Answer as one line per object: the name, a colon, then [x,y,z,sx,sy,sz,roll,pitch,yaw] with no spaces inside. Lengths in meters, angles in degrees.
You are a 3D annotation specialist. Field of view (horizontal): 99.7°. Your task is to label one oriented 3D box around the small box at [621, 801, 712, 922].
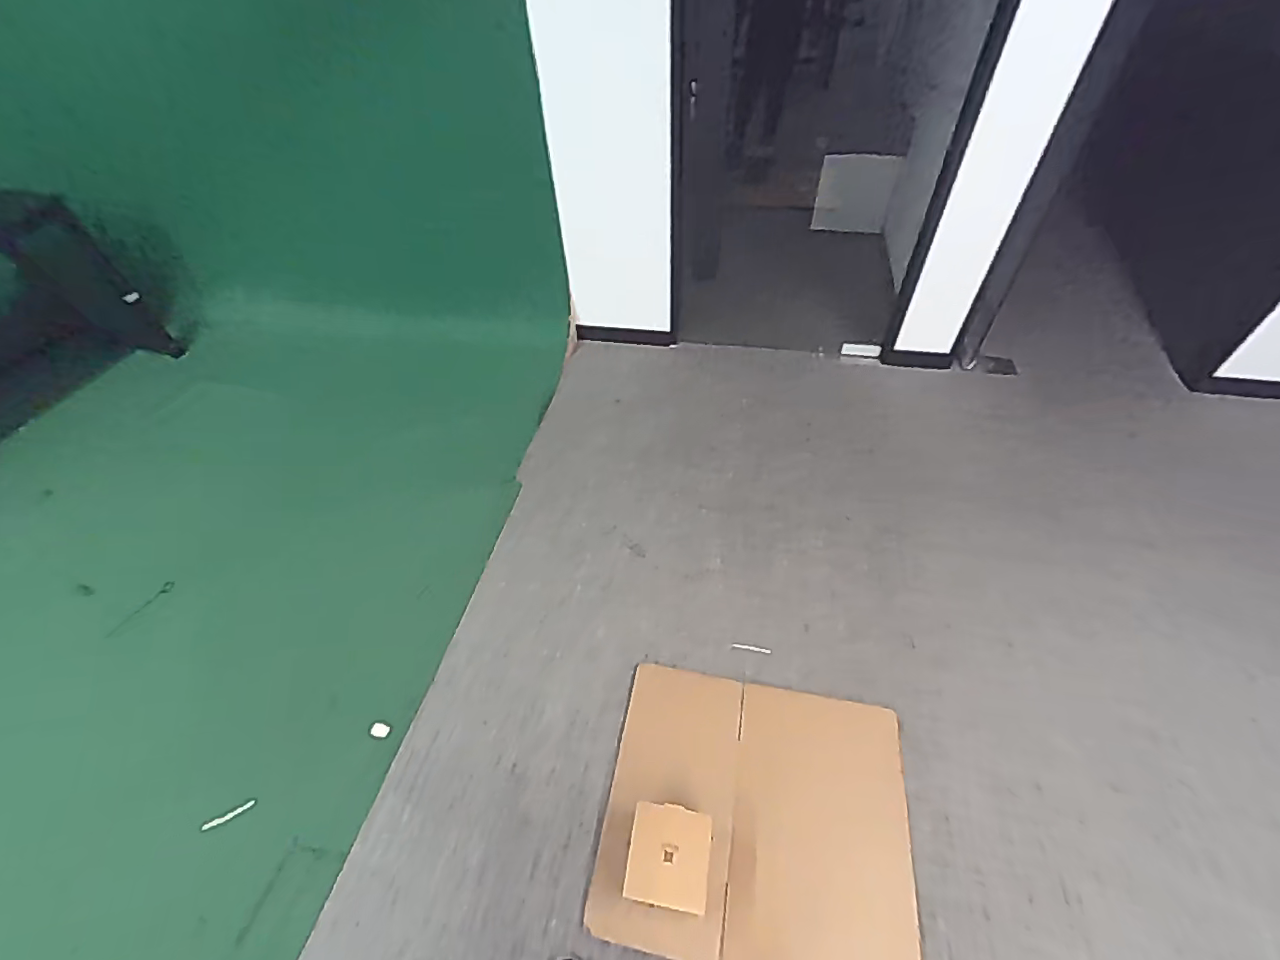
small box: [0.061,0.816,1.153,0.168,0.176,0.179,6,49,8]
